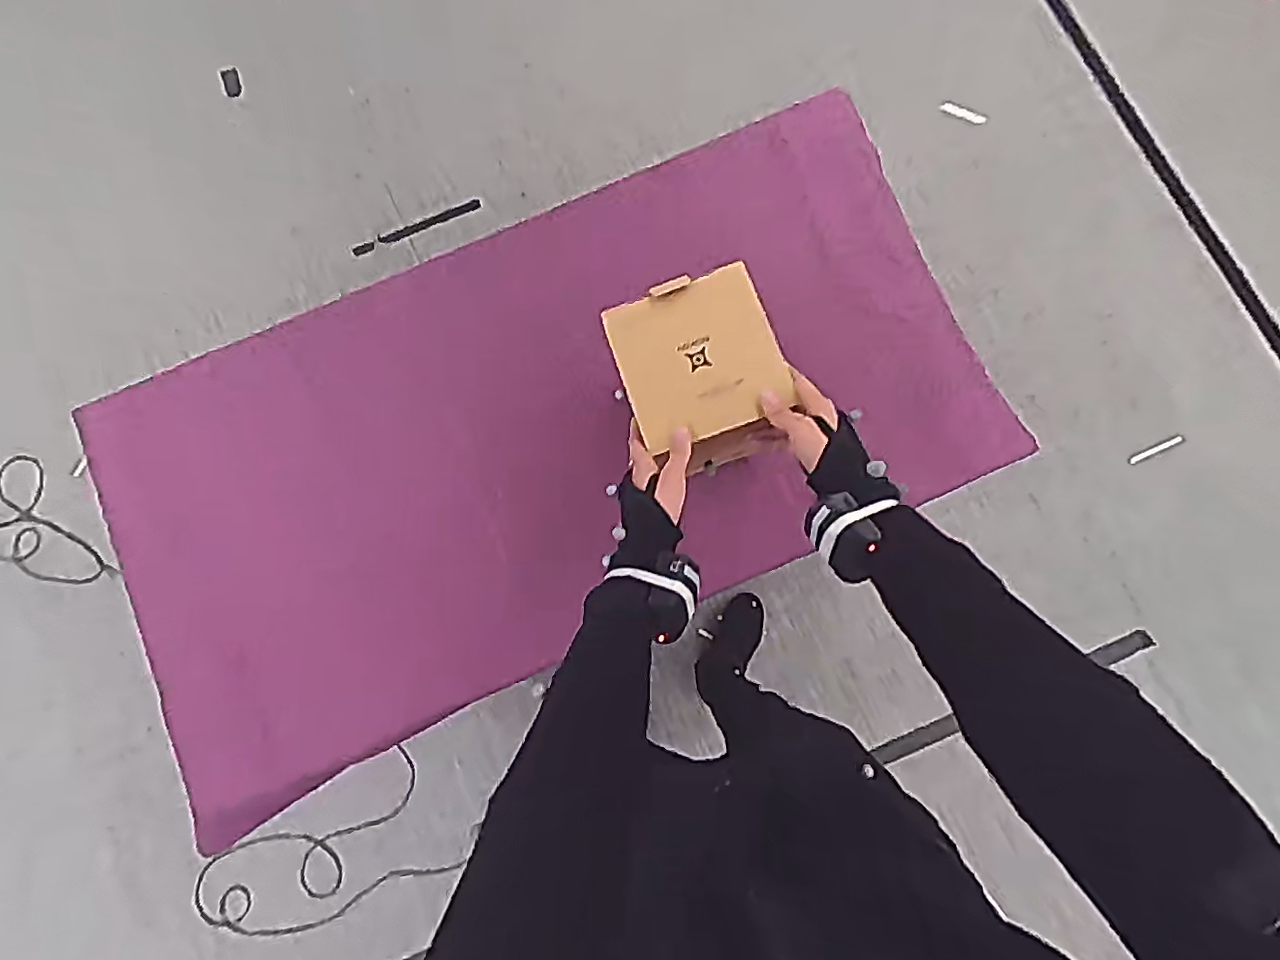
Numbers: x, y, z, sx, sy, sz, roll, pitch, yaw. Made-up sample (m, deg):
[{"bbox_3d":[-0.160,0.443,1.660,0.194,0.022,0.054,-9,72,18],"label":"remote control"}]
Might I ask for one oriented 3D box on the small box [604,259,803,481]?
[{"bbox_3d":[0.069,-0.115,0.636,0.168,0.176,0.179,-19,78,3],"label":"small box"}]
